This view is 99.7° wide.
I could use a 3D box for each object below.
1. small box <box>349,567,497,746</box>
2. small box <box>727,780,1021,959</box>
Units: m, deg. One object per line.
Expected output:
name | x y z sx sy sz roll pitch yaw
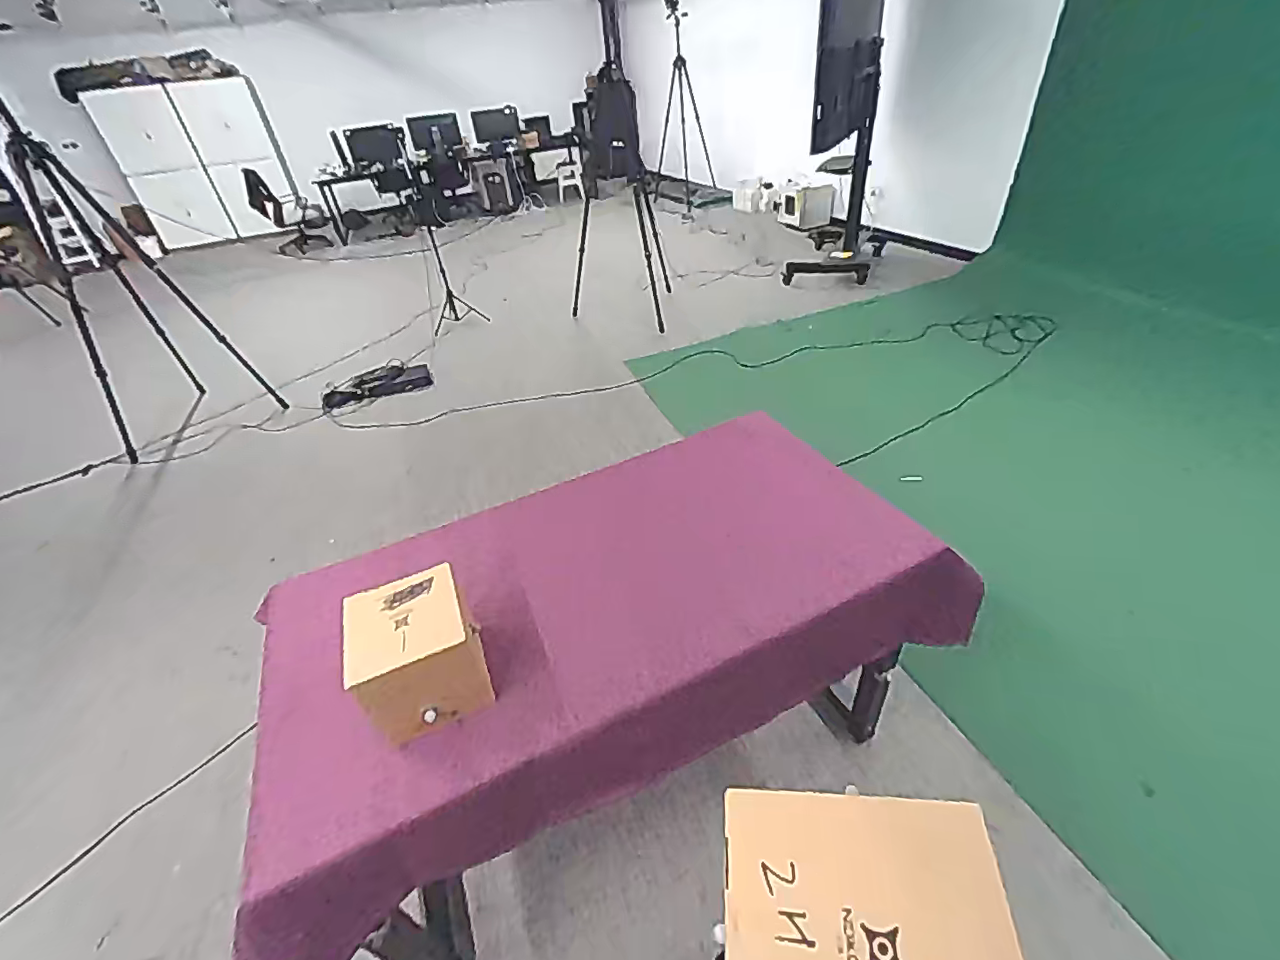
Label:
small box | -0.339 0.276 0.853 0.168 0.176 0.179 -20 40 -16
small box | 0.157 0.338 0.401 0.179 0.176 0.168 -3 48 12
